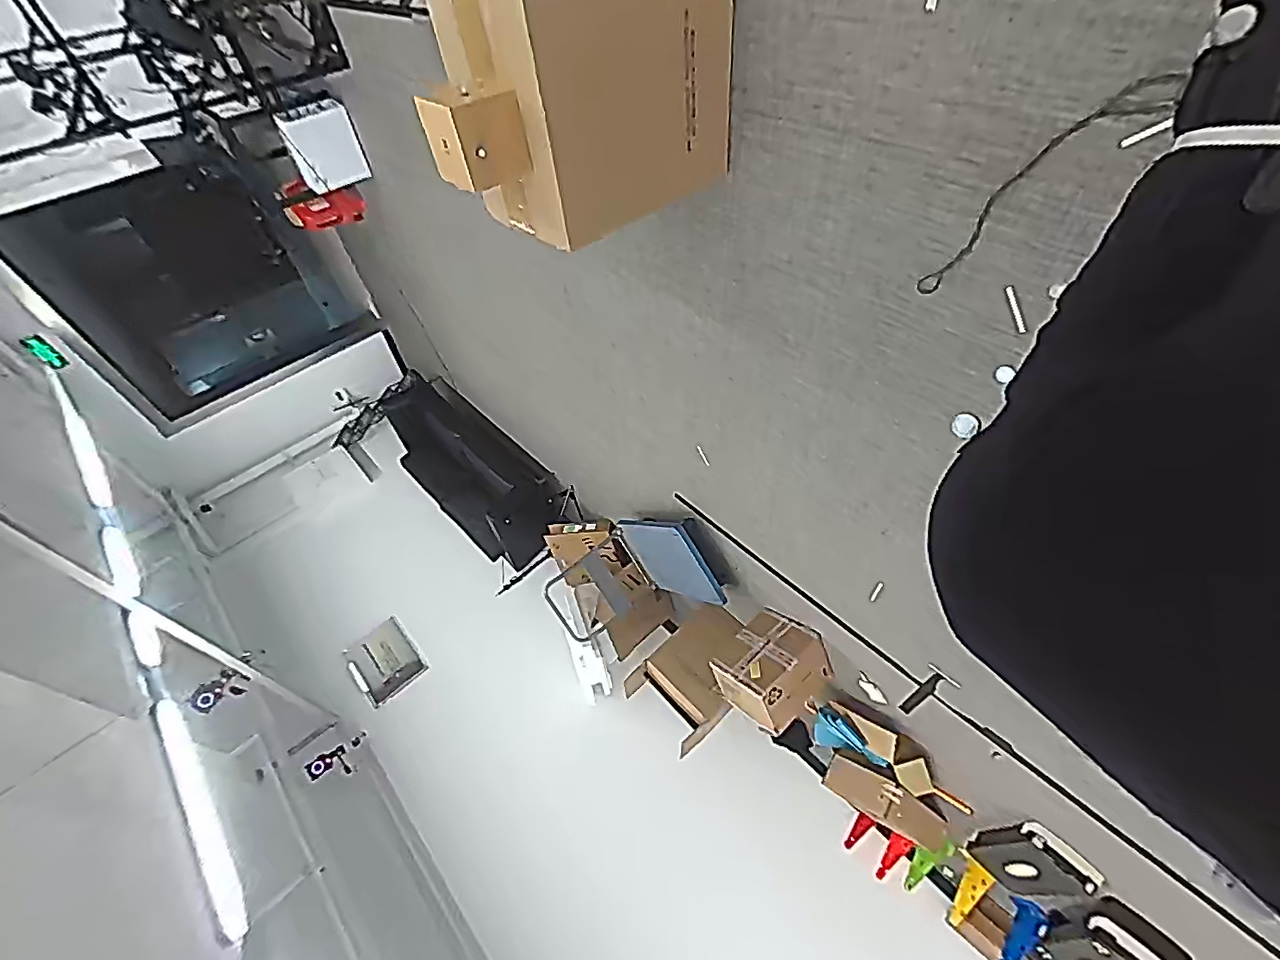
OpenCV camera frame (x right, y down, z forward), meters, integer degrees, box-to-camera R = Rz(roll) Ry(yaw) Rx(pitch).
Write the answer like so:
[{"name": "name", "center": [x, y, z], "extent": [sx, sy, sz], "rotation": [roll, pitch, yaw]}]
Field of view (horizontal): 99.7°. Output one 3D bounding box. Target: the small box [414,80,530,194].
[{"name": "small box", "center": [-0.384, -0.803, 1.259], "extent": [0.168, 0.176, 0.179], "rotation": [37, 153, 31]}]
